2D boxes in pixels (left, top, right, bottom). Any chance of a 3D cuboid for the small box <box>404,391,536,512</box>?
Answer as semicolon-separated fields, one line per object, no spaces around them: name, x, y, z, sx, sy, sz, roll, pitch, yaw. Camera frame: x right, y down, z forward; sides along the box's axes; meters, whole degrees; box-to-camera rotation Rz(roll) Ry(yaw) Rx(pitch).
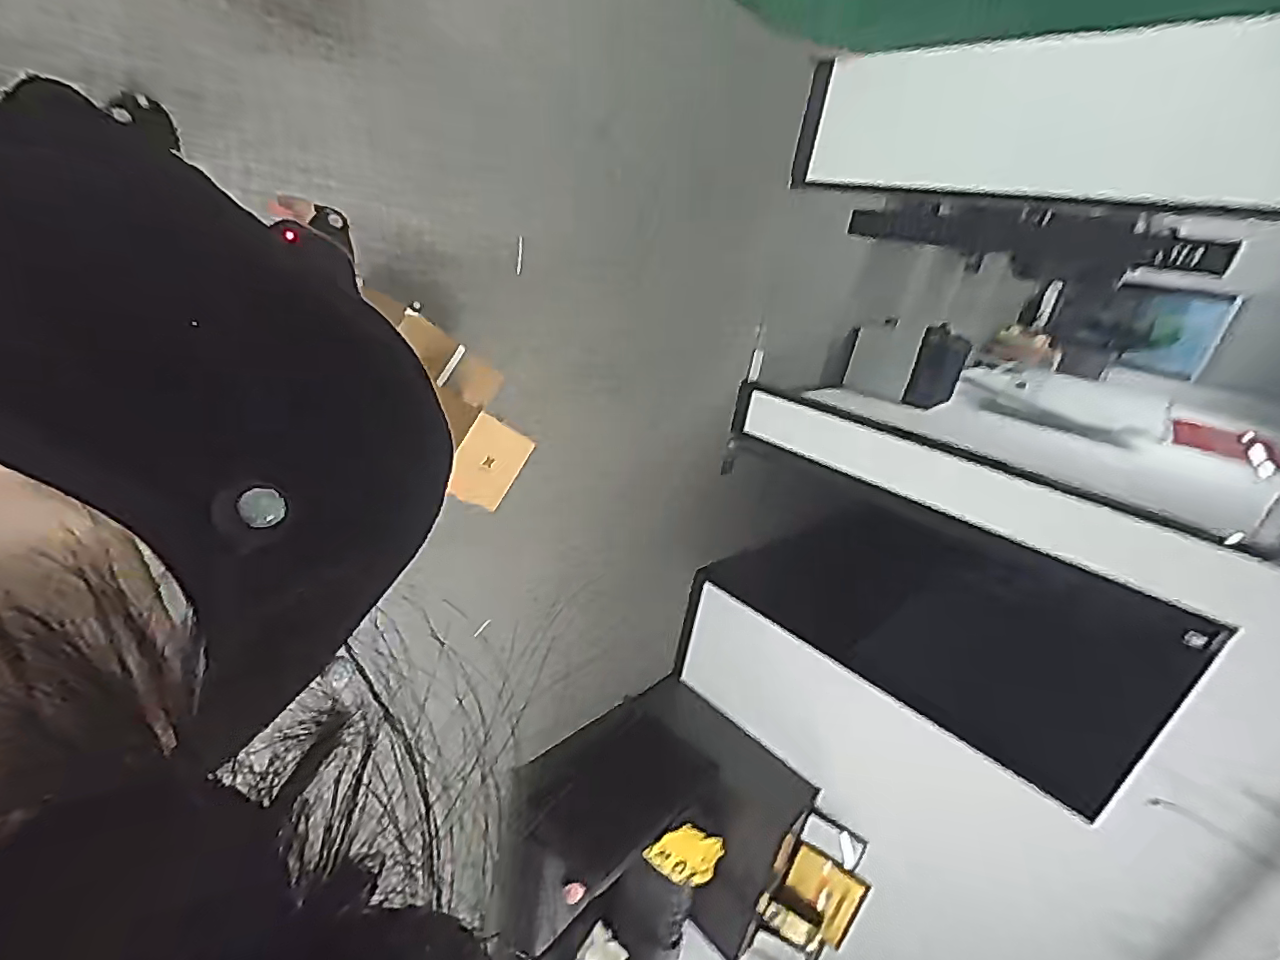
small box;-0.363;-0.063;1.143;0.179;0.176;0.168;-58;143;-2
